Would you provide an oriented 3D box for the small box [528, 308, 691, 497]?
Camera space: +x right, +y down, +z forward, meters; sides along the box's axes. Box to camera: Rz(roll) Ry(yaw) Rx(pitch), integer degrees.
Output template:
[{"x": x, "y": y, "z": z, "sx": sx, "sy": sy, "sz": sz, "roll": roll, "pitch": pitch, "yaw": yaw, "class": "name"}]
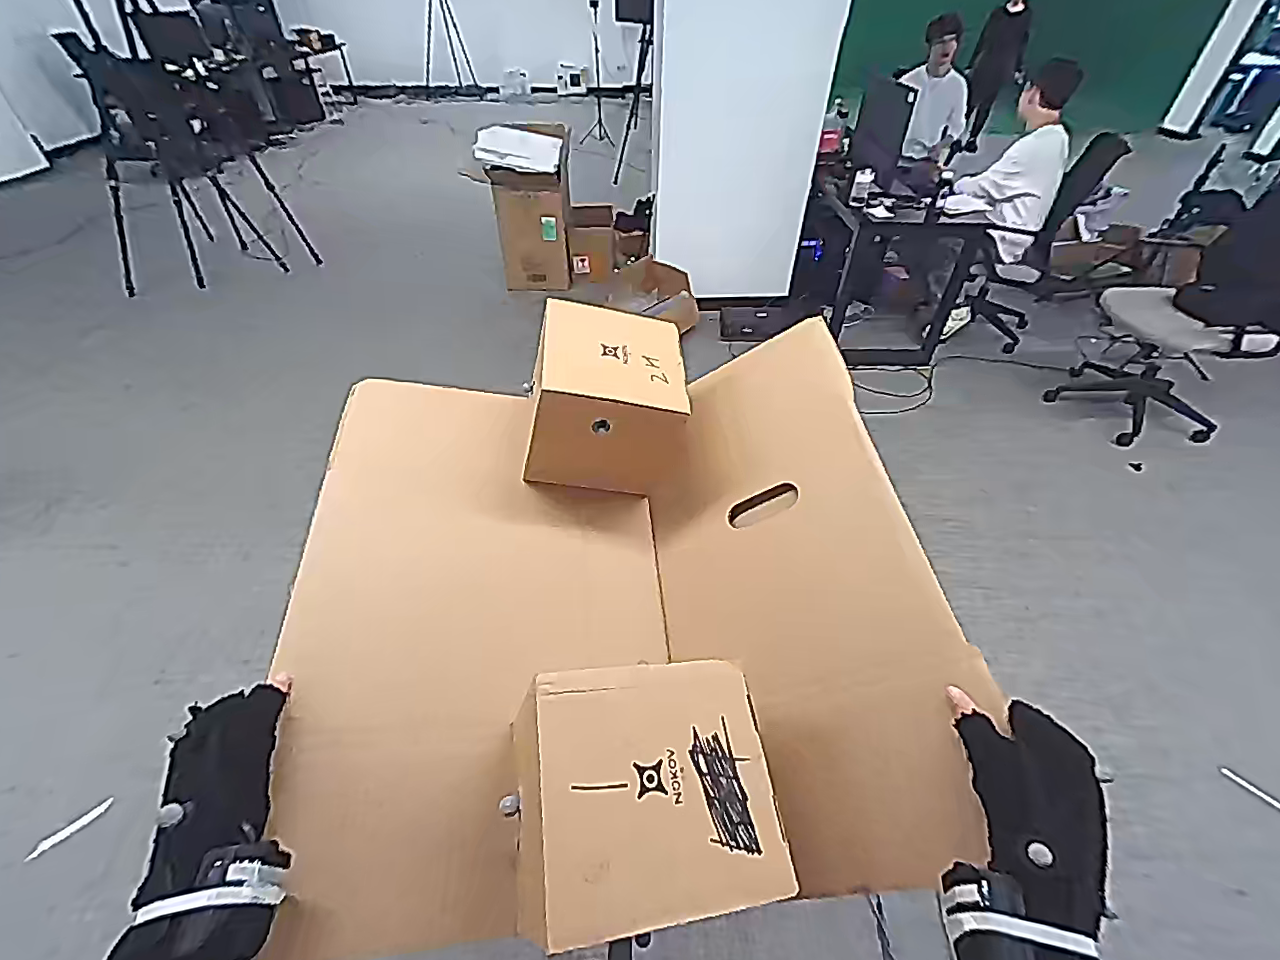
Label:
[{"x": -0.048, "y": -0.094, "z": 0.714, "sx": 0.179, "sy": 0.176, "sz": 0.168, "roll": 9, "pitch": 52, "yaw": -15, "class": "small box"}]
